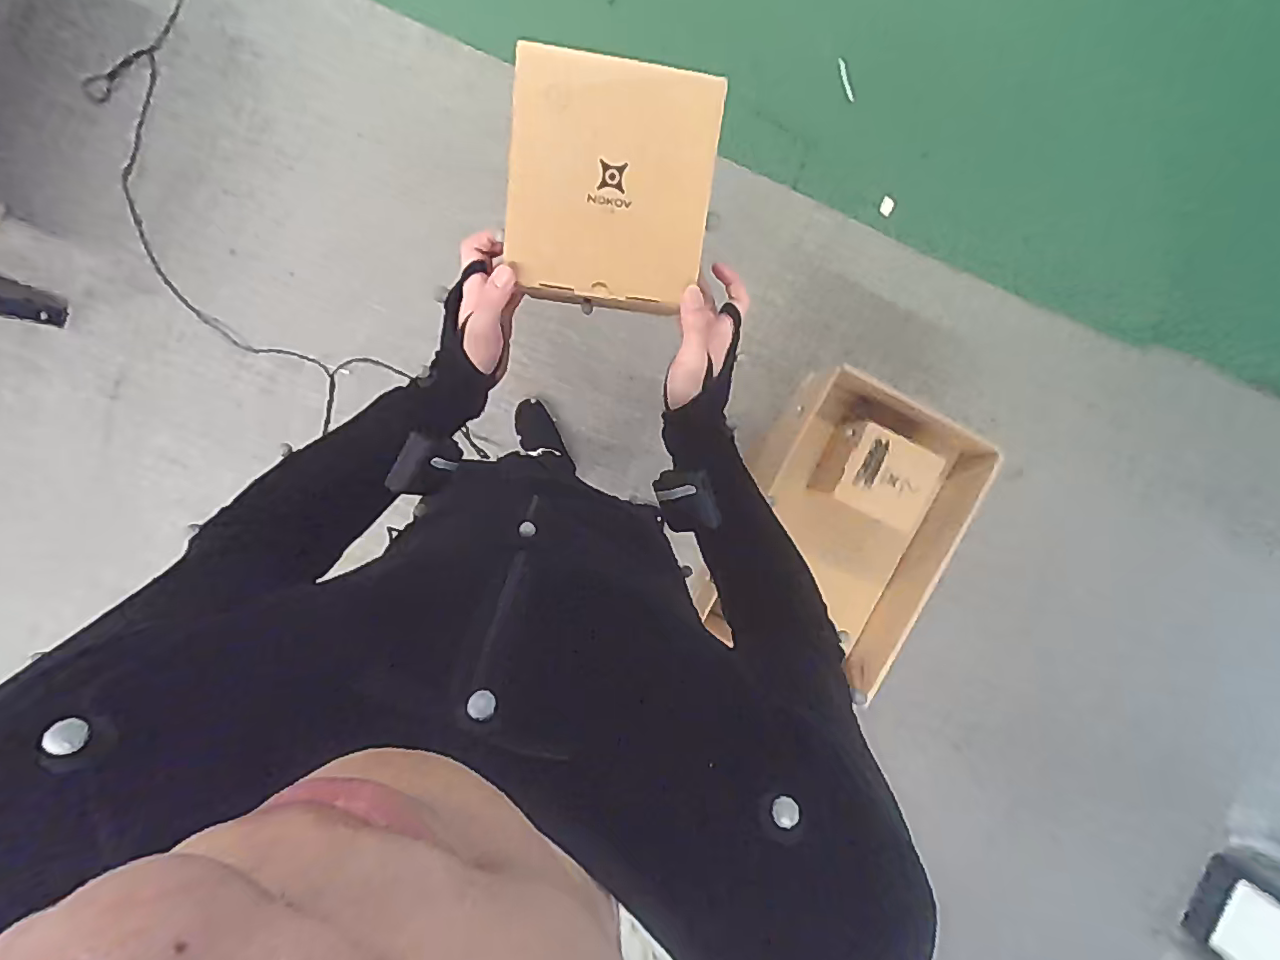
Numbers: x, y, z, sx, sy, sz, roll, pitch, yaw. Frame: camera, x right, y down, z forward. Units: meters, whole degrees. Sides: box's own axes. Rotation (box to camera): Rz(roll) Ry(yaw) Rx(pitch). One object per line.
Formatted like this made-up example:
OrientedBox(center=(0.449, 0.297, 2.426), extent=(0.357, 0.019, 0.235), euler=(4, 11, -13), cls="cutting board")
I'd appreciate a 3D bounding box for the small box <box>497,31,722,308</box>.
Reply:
OrientedBox(center=(-0.034, -0.264, 0.507), extent=(0.168, 0.176, 0.179), euler=(6, 106, -6), cls="small box")
